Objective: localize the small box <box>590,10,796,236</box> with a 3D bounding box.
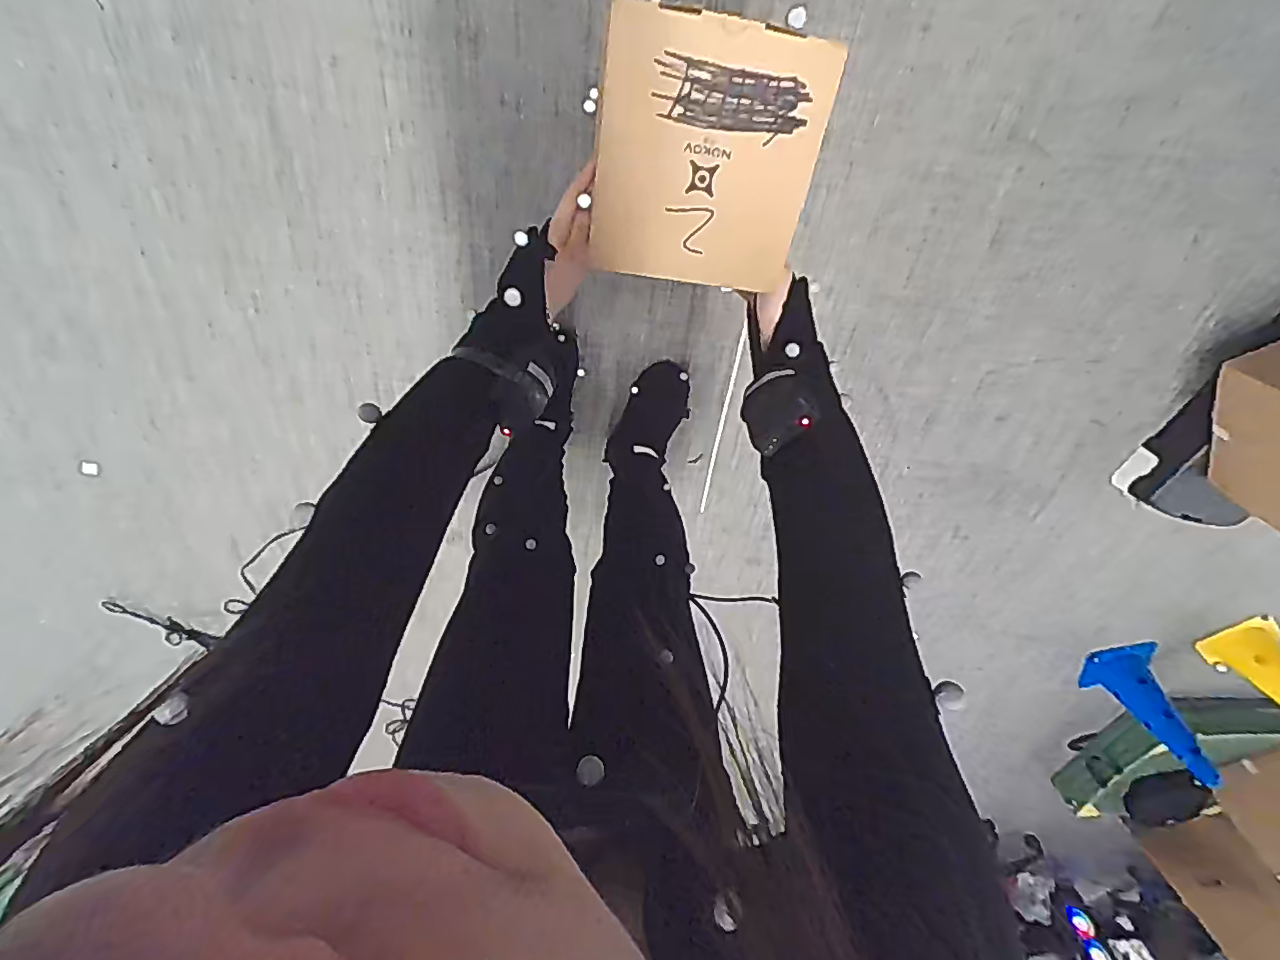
[{"bbox_3d":[0.042,-0.387,0.594,0.179,0.176,0.168,5,128,-8],"label":"small box"}]
